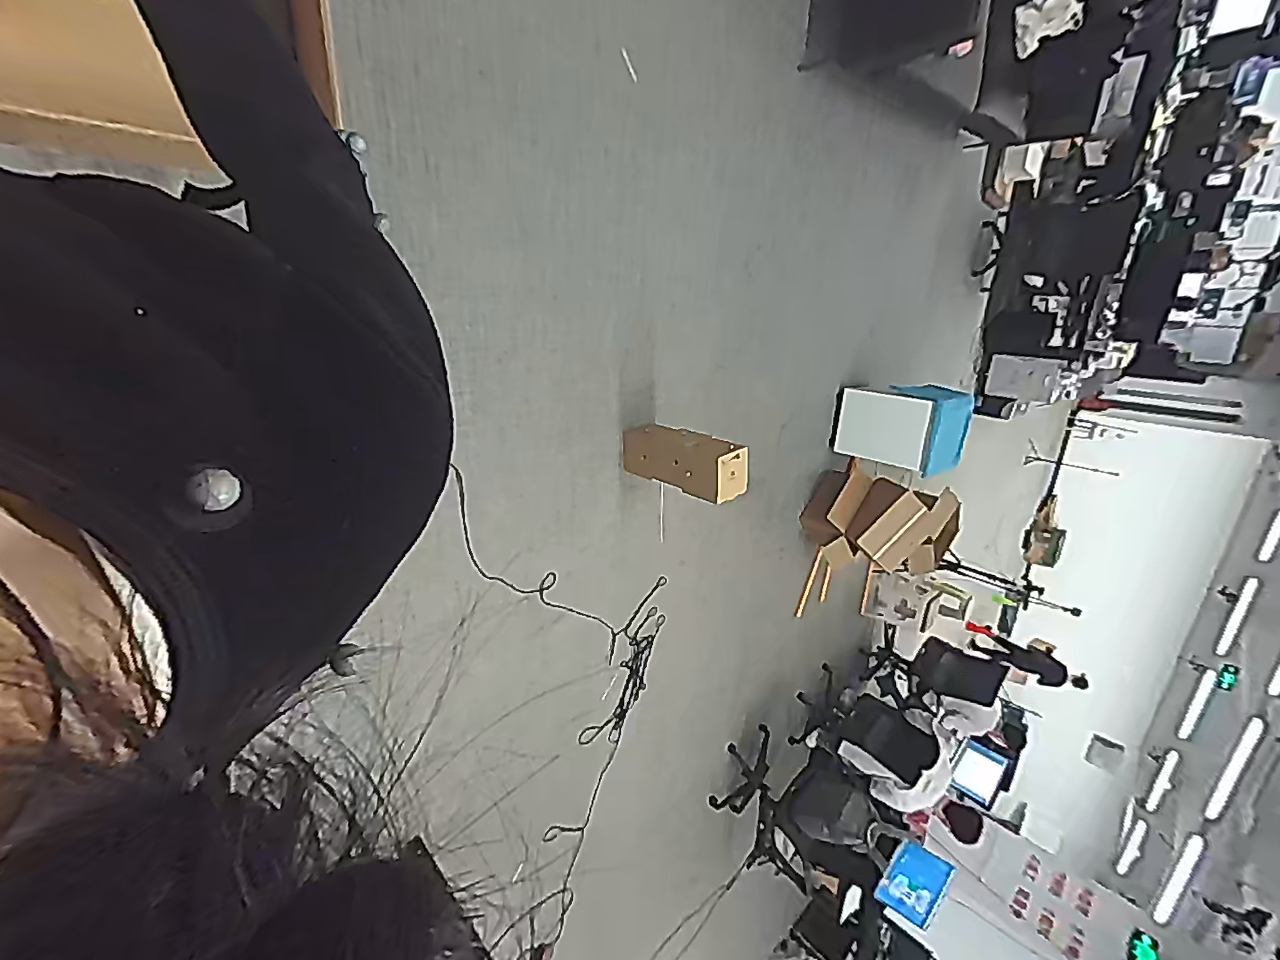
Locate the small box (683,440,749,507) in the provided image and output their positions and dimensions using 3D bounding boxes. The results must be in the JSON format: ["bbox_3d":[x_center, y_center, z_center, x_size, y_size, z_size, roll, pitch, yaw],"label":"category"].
[{"bbox_3d":[0.265,-0.029,1.919,0.168,0.176,0.179,-20,118,-39],"label":"small box"}]

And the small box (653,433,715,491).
[{"bbox_3d":[0.163,-0.076,2.039,0.168,0.176,0.179,-17,116,-40],"label":"small box"}]

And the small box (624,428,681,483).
[{"bbox_3d":[0.050,-0.107,2.154,0.168,0.176,0.179,-18,117,-40],"label":"small box"}]
